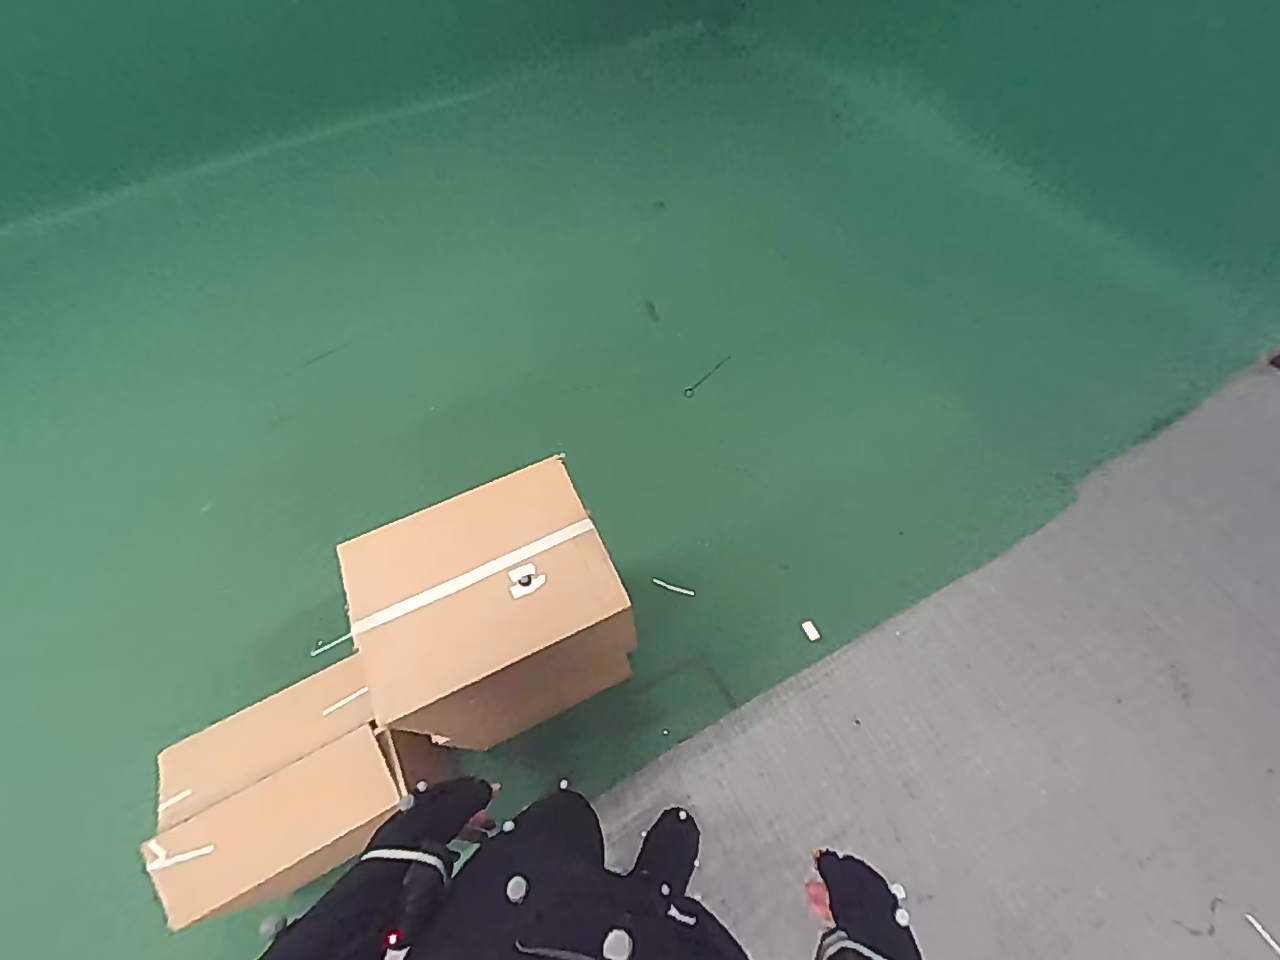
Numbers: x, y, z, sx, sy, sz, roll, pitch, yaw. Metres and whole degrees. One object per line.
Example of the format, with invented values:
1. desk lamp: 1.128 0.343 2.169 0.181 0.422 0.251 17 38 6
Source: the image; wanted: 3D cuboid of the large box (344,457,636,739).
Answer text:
1. large box: -0.252 0.226 1.005 0.408 0.320 0.320 -23 64 -12
